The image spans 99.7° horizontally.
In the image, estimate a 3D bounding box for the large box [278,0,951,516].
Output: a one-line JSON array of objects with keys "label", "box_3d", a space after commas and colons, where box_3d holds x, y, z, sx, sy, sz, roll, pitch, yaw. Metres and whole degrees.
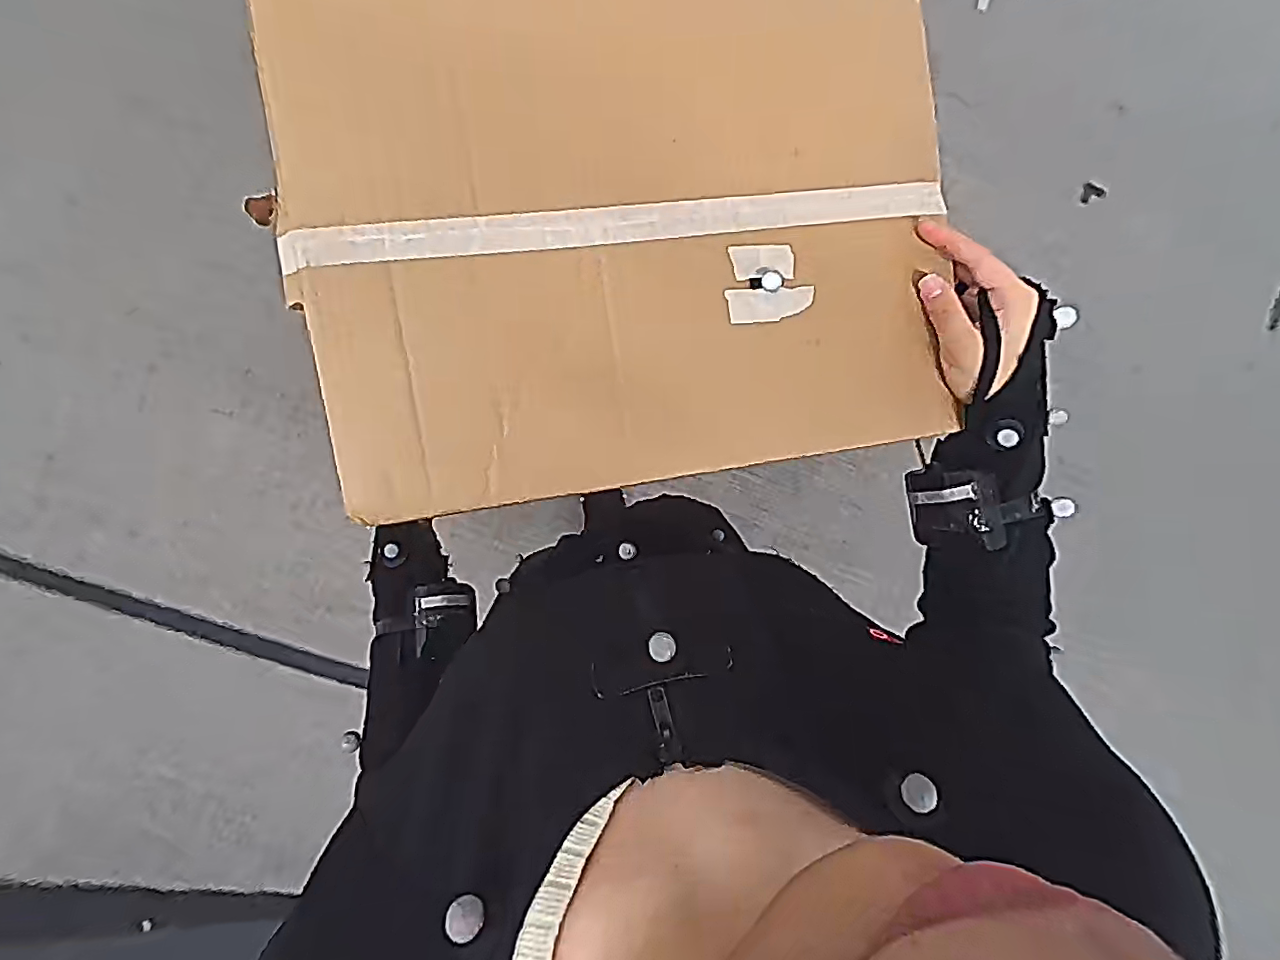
[{"label": "large box", "box_3d": [-0.018, -0.165, 0.490, 0.408, 0.320, 0.320, -9, 95, -11]}]
